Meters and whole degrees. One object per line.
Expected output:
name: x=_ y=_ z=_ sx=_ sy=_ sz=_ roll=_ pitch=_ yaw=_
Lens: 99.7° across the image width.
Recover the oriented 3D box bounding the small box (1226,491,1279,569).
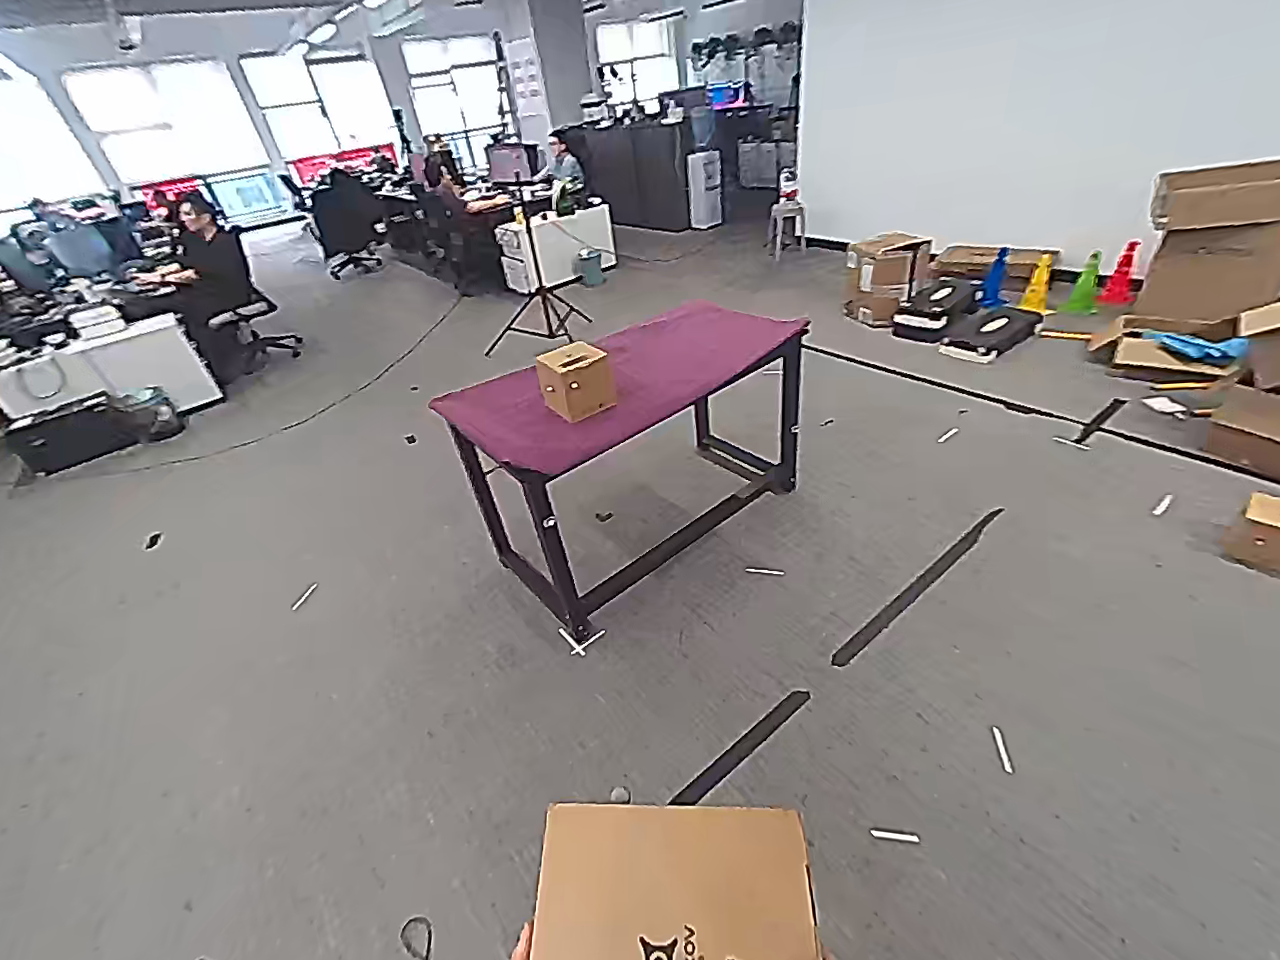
small box: x=2.100 y=0.170 z=1.790 sx=0.168 sy=0.176 sz=0.179 roll=26 pitch=48 yaw=38

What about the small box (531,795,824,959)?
small box: x=0.029 y=0.332 z=0.380 sx=0.179 sy=0.176 sz=0.168 roll=-2 pitch=51 yaw=5
